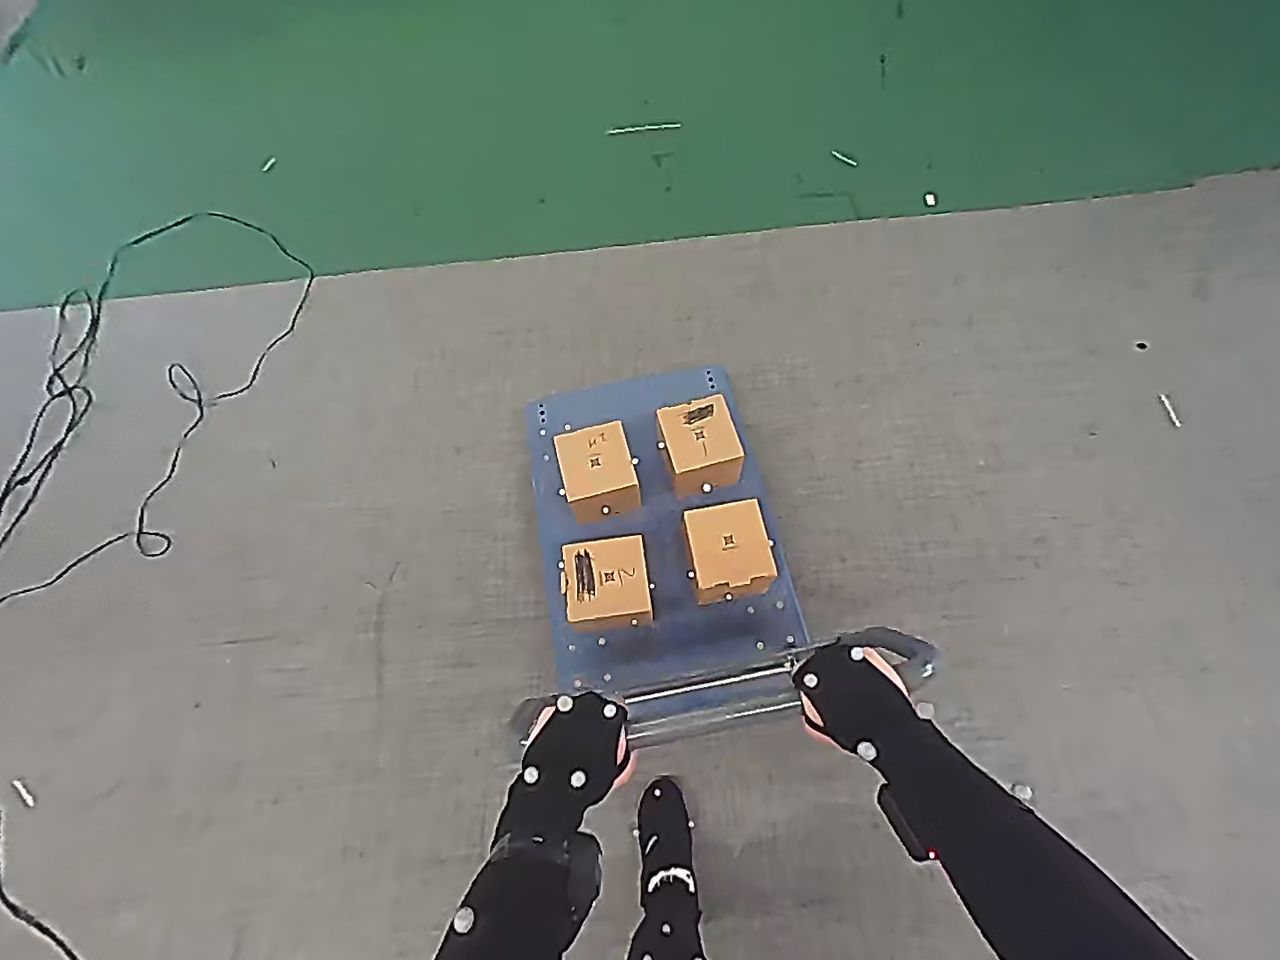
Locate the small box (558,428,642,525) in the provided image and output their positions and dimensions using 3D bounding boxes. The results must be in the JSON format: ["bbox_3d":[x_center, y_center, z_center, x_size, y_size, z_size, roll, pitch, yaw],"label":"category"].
[{"bbox_3d":[-0.095,0.001,1.341,0.168,0.176,0.179,-14,66,-3],"label":"small box"}]

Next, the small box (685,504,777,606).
[{"bbox_3d":[0.200,0.177,1.242,0.168,0.176,0.179,-11,66,-1],"label":"small box"}]

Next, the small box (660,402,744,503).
[{"bbox_3d":[0.148,-0.065,1.353,0.168,0.176,0.179,-15,67,-2],"label":"small box"}]
